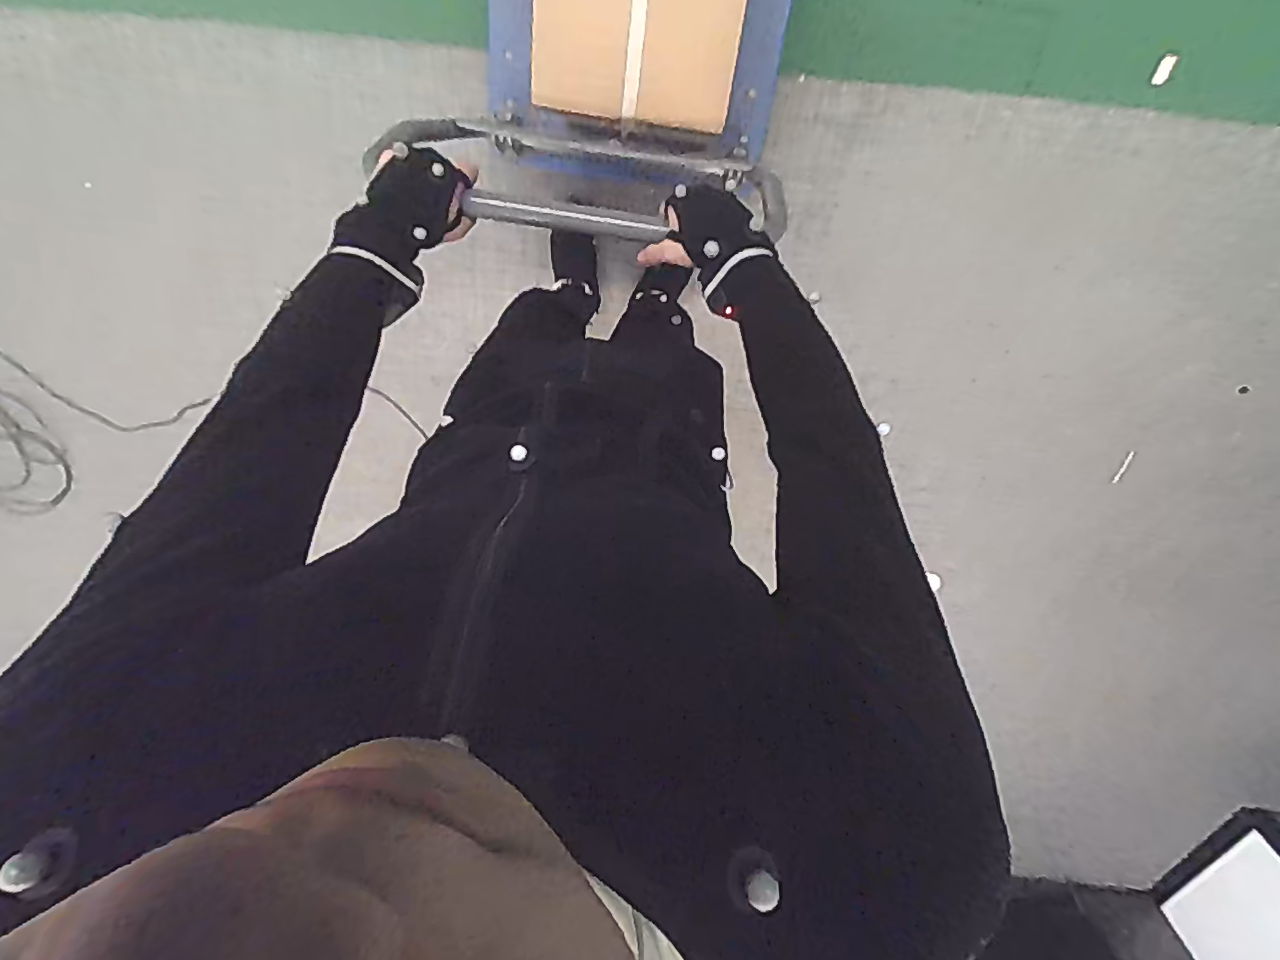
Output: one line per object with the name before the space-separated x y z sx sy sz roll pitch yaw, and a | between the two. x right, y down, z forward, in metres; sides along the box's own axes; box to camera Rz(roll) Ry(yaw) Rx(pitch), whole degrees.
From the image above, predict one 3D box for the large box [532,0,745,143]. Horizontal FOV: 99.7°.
large box | 0.011 -0.820 0.904 0.320 0.320 0.408 8 119 -2
